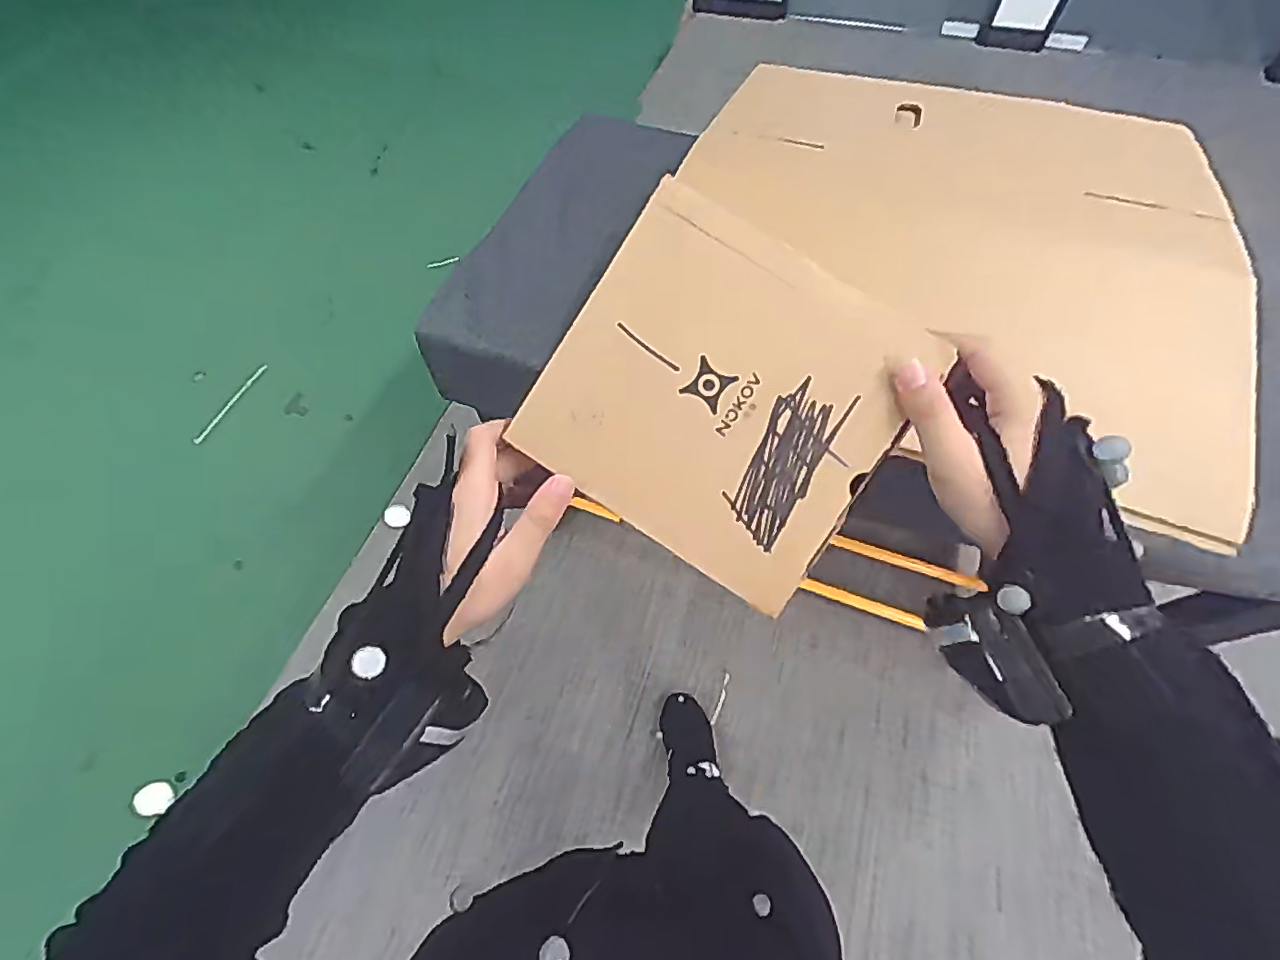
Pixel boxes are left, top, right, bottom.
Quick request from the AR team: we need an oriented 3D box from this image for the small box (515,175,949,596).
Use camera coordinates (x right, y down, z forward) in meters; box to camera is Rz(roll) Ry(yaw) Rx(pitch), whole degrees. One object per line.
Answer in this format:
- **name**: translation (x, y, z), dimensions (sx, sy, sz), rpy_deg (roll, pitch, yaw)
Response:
- **small box**: translation (0.053, -0.053, 0.367), dimensions (0.179, 0.176, 0.168), rpy_deg (33, 94, 5)
